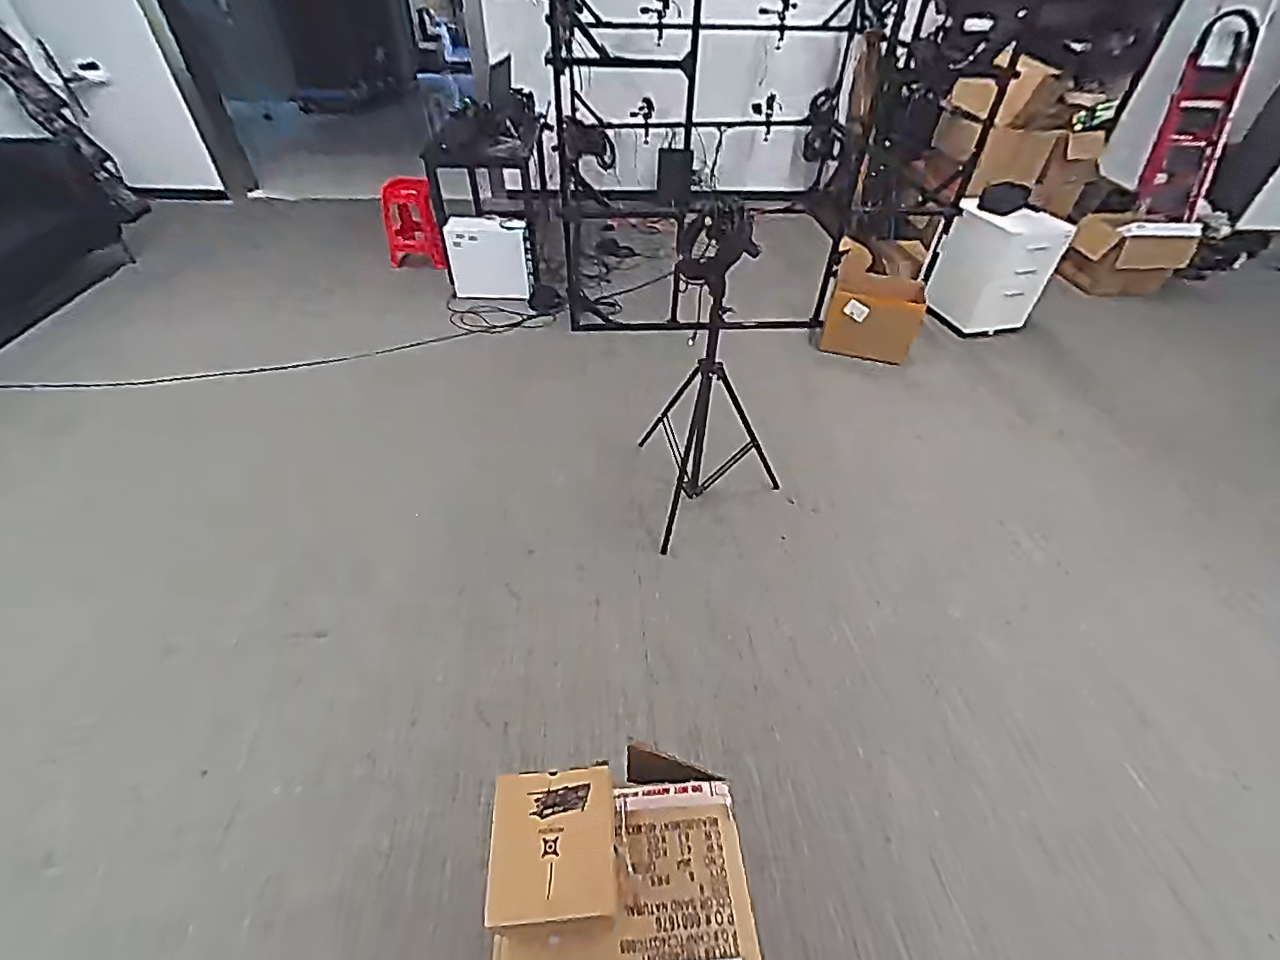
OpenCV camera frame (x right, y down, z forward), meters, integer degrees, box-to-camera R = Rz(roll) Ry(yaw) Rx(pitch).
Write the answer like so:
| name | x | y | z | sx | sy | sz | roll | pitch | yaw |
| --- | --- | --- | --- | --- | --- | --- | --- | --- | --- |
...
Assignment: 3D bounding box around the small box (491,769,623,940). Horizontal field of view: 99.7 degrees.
| name | x | y | z | sx | sy | sz | roll | pitch | yaw |
| --- | --- | --- | --- | --- | --- | --- | --- | --- | --- |
| small box | -0.112 | 0.547 | 0.791 | 0.168 | 0.176 | 0.179 | -4 | 47 | -3 |
